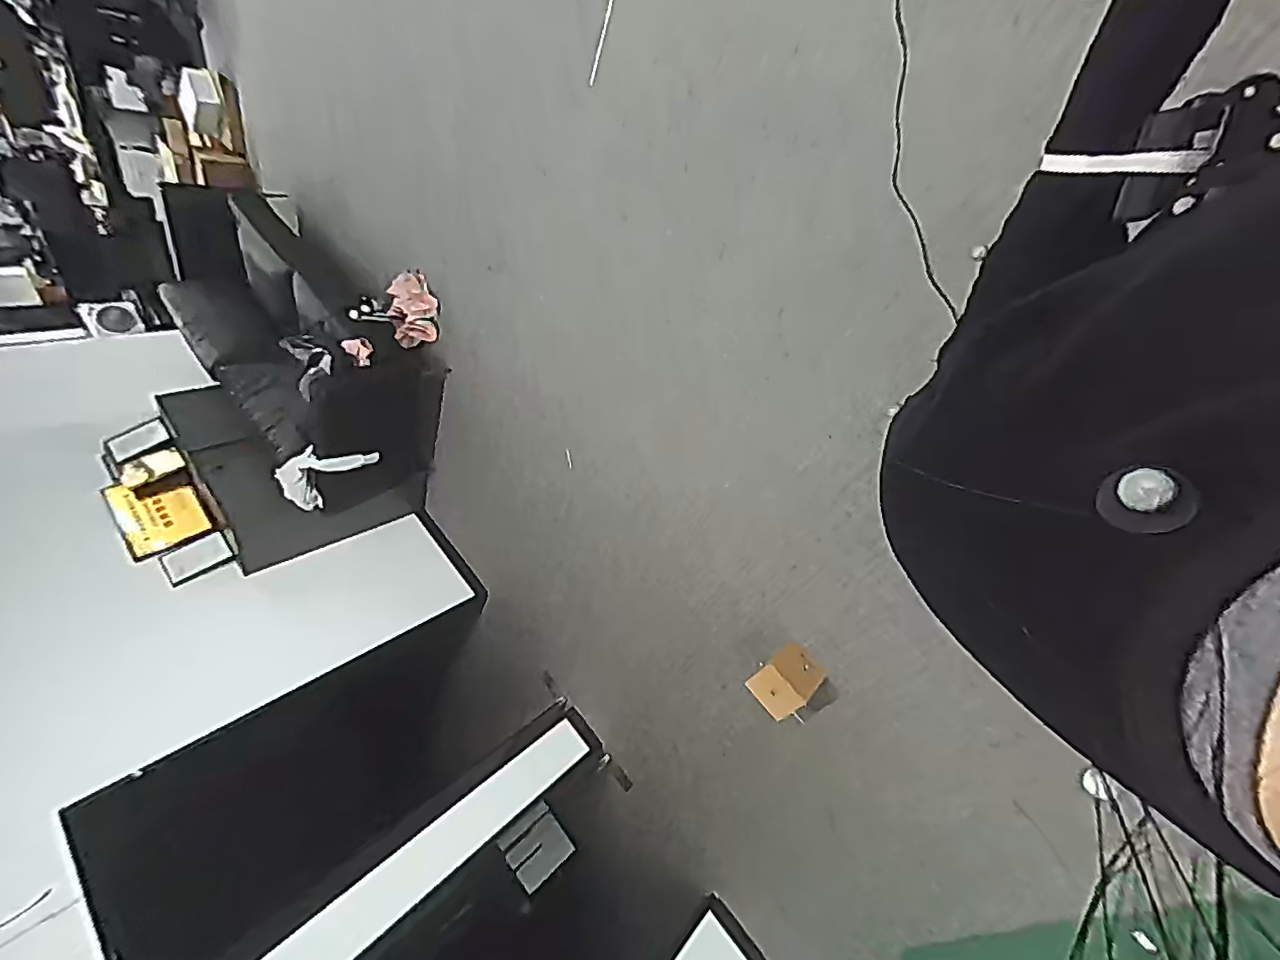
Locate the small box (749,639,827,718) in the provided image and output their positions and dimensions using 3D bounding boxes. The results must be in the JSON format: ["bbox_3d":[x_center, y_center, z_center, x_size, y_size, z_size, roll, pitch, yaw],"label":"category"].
[{"bbox_3d":[0.530,0.700,1.918,0.168,0.176,0.179,47,134,19],"label":"small box"}]
